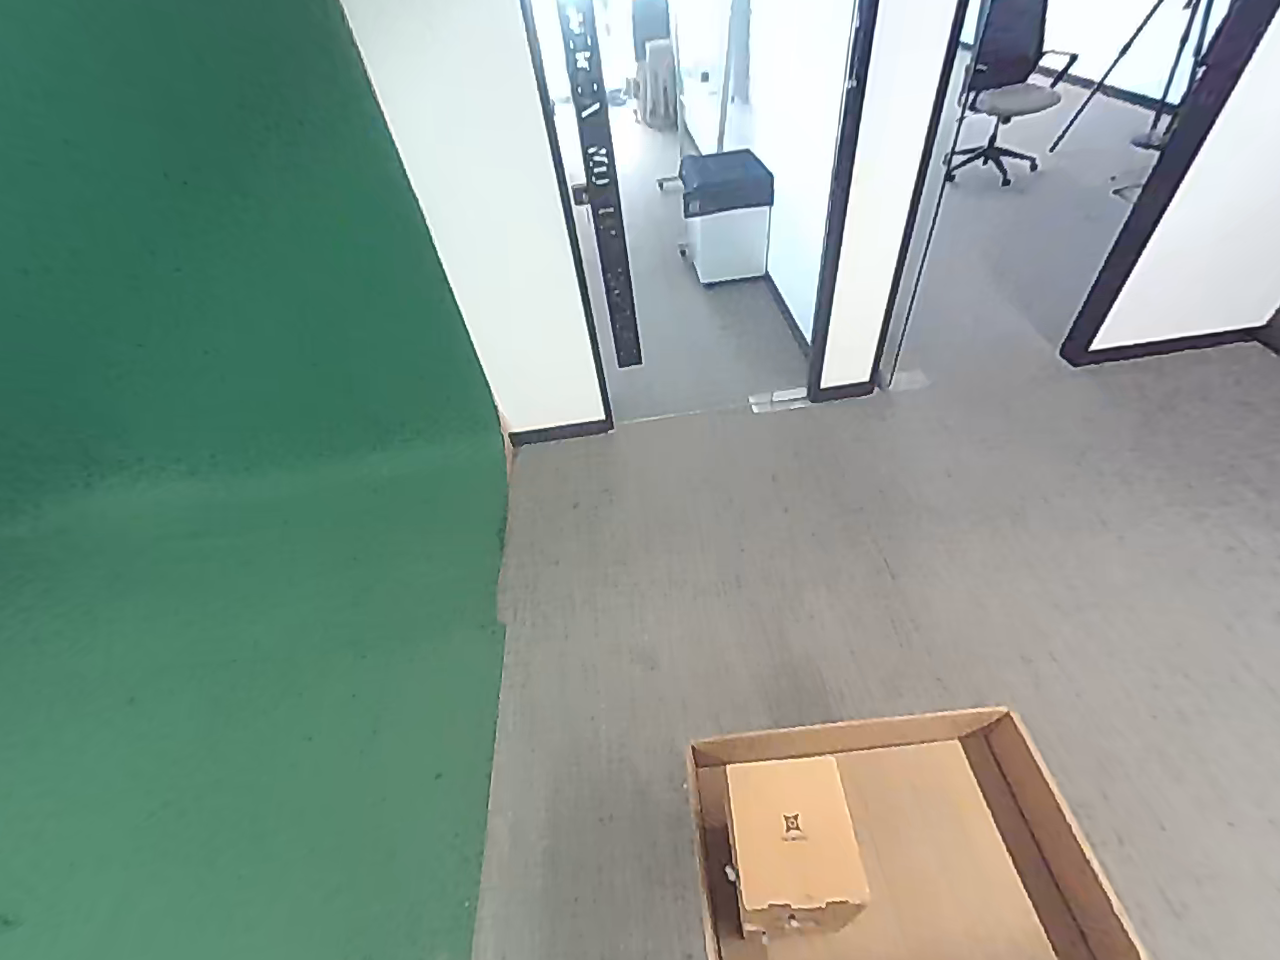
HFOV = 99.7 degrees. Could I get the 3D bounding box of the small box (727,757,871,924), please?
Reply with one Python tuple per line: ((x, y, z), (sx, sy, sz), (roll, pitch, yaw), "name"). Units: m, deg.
((0.221, 0.538, 0.808), (0.168, 0.176, 0.179), (-6, 45, 4), "small box")
